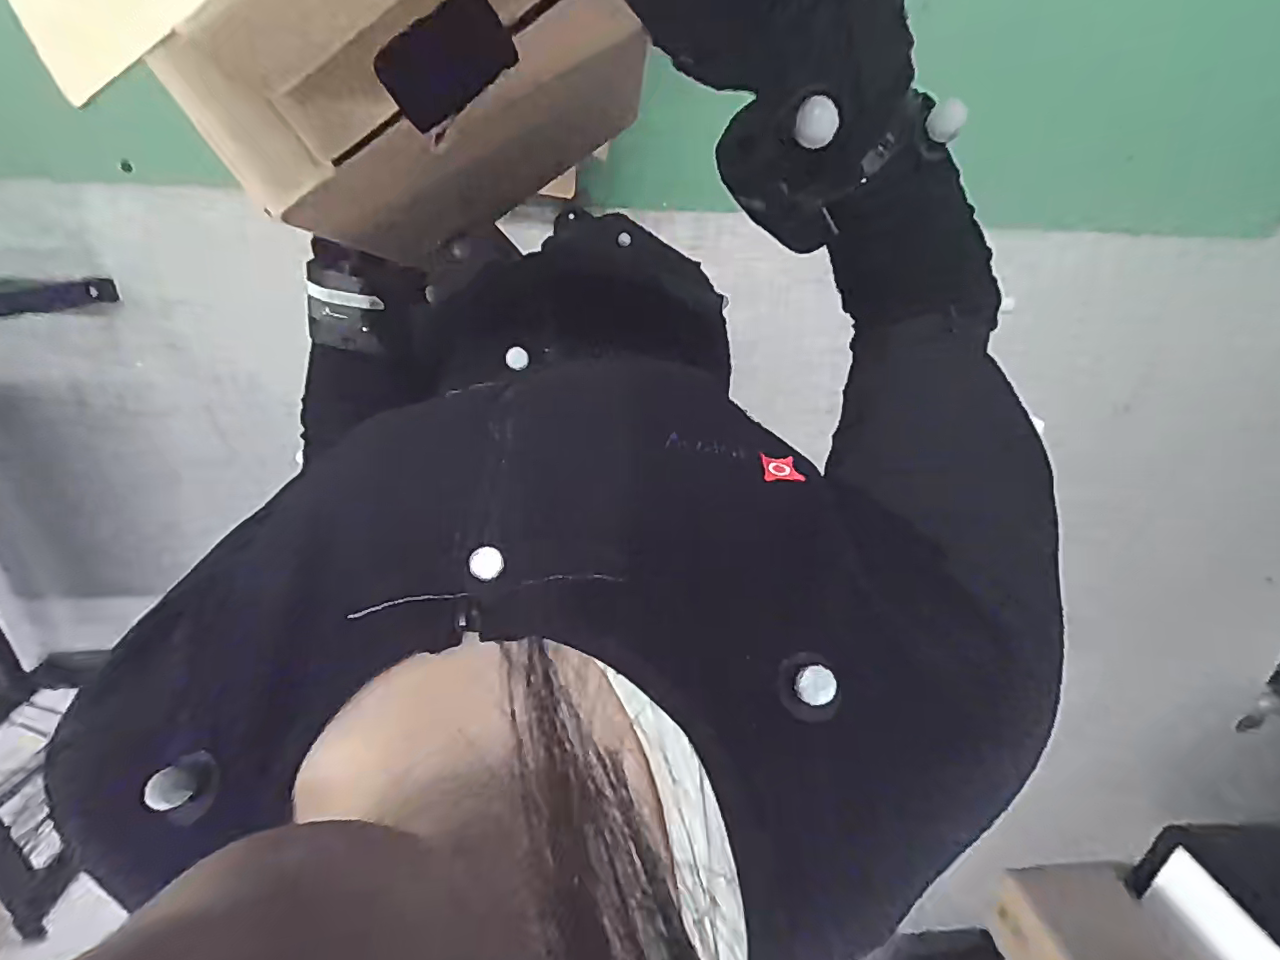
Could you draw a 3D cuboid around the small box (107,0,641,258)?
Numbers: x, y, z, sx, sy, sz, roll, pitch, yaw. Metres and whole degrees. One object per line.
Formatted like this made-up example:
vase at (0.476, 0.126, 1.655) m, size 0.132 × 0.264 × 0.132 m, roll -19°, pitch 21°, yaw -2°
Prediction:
small box at (-0.107, -0.220, 0.239) m, size 0.168 × 0.176 × 0.179 m, roll -33°, pitch 103°, yaw 6°
